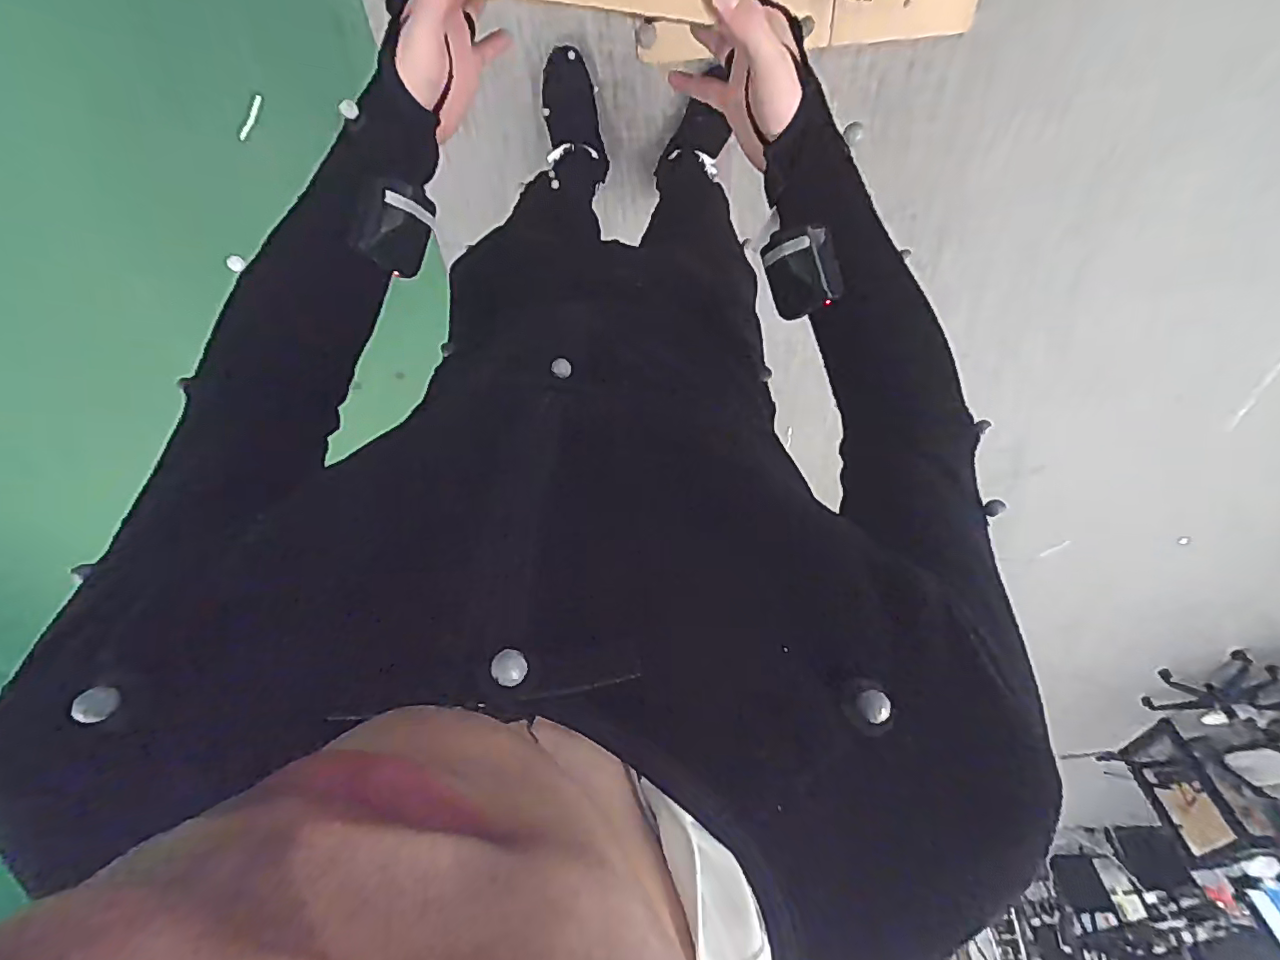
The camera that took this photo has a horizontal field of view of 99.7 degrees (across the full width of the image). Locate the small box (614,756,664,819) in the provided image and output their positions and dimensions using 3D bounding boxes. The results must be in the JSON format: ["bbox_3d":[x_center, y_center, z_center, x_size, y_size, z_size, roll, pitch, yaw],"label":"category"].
[{"bbox_3d":[-0.004,1.142,2.011,0.179,0.176,0.168,-2,133,2],"label":"small box"}]

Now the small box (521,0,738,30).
[{"bbox_3d":[-0.019,-0.417,0.357,0.179,0.176,0.168,4,130,-5],"label":"small box"}]
